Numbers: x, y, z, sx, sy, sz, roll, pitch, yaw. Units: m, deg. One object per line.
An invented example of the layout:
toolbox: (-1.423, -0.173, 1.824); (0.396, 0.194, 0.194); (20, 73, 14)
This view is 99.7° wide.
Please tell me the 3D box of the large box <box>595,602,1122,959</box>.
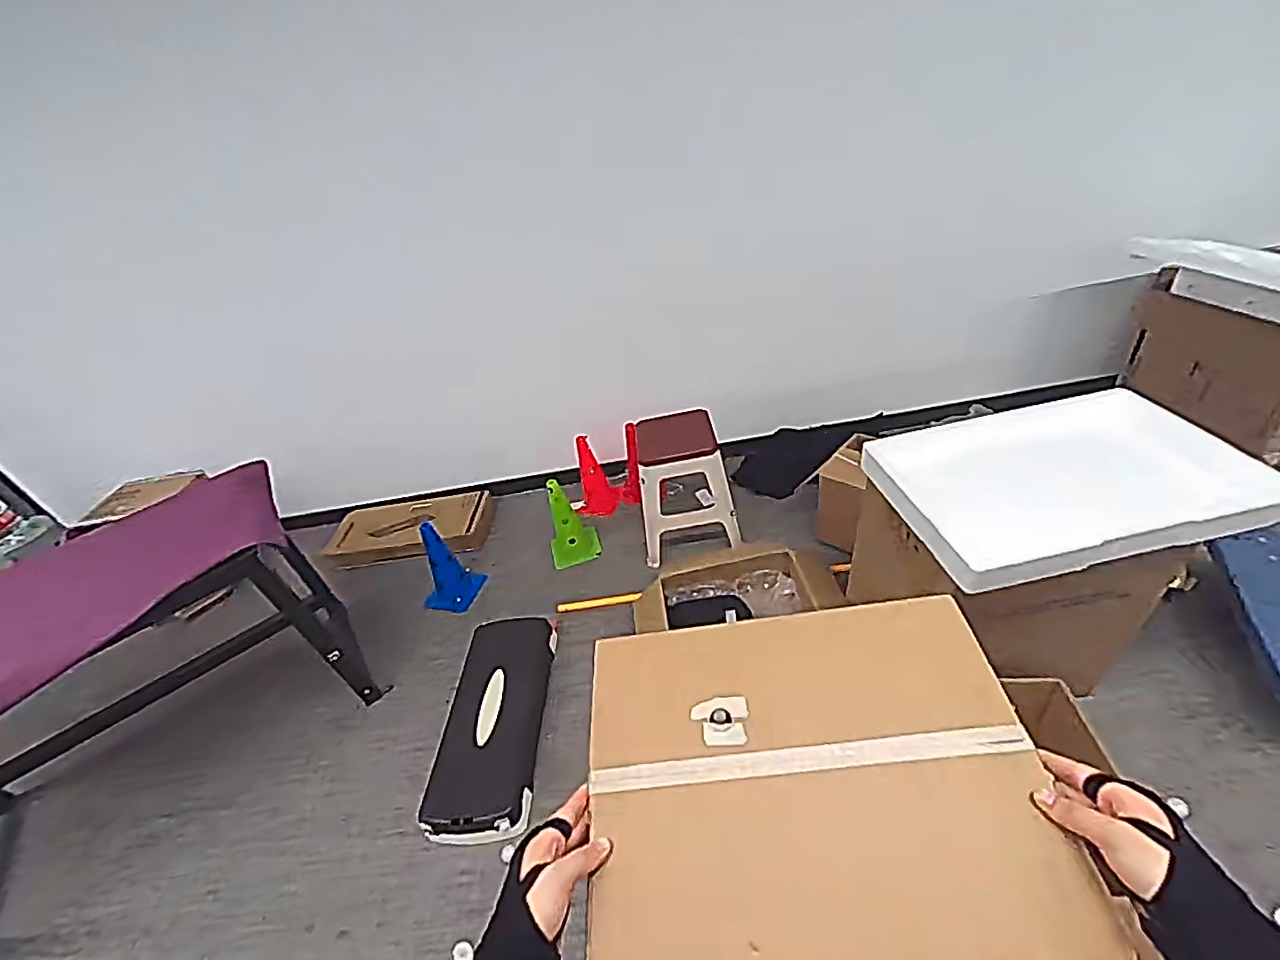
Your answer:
large box: (0.184, 0.381, 0.617); (0.408, 0.320, 0.320); (-10, 41, 7)
